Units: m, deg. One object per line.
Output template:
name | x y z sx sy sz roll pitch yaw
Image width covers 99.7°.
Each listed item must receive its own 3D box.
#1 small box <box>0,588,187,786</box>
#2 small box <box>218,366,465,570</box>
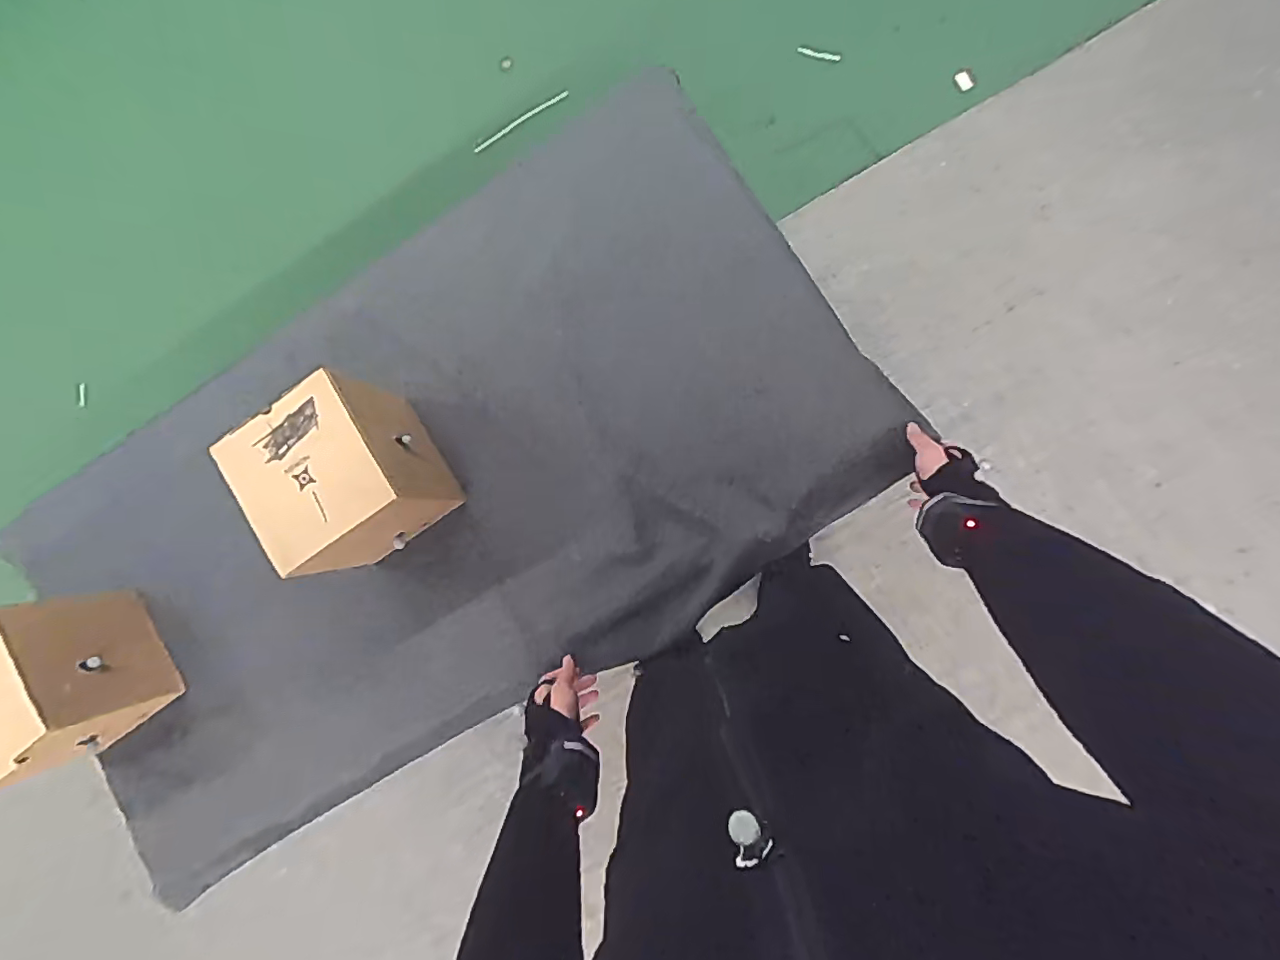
small box | -0.771 0.266 0.724 0.168 0.176 0.179 -35 83 5
small box | -0.357 -0.009 0.676 0.168 0.176 0.179 -33 84 6
